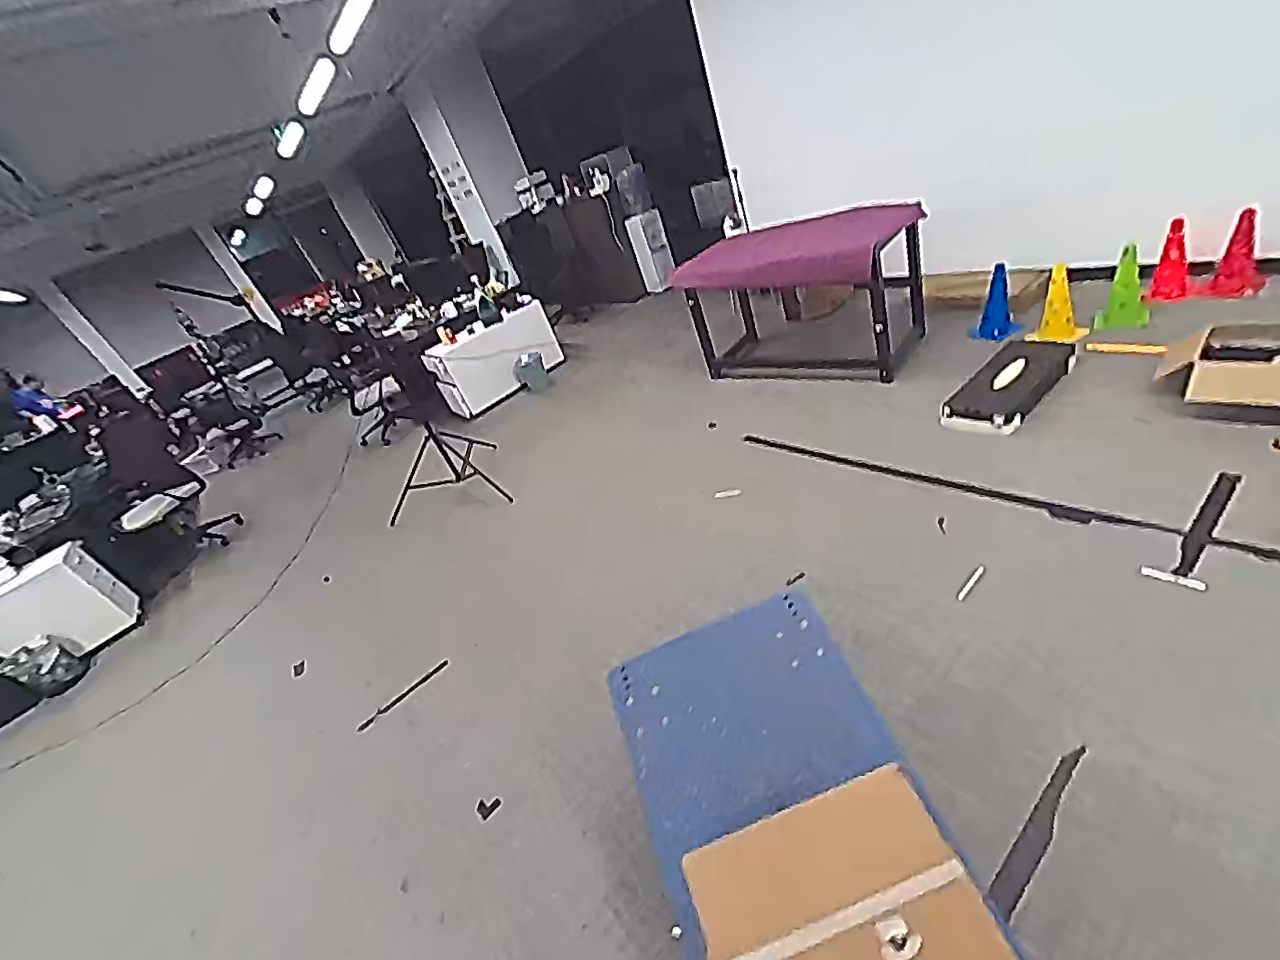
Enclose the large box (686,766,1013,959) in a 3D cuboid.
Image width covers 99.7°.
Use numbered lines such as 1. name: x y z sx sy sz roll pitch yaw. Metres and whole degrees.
1. large box: 0.339 0.771 0.938 0.408 0.320 0.320 -24 50 -3
